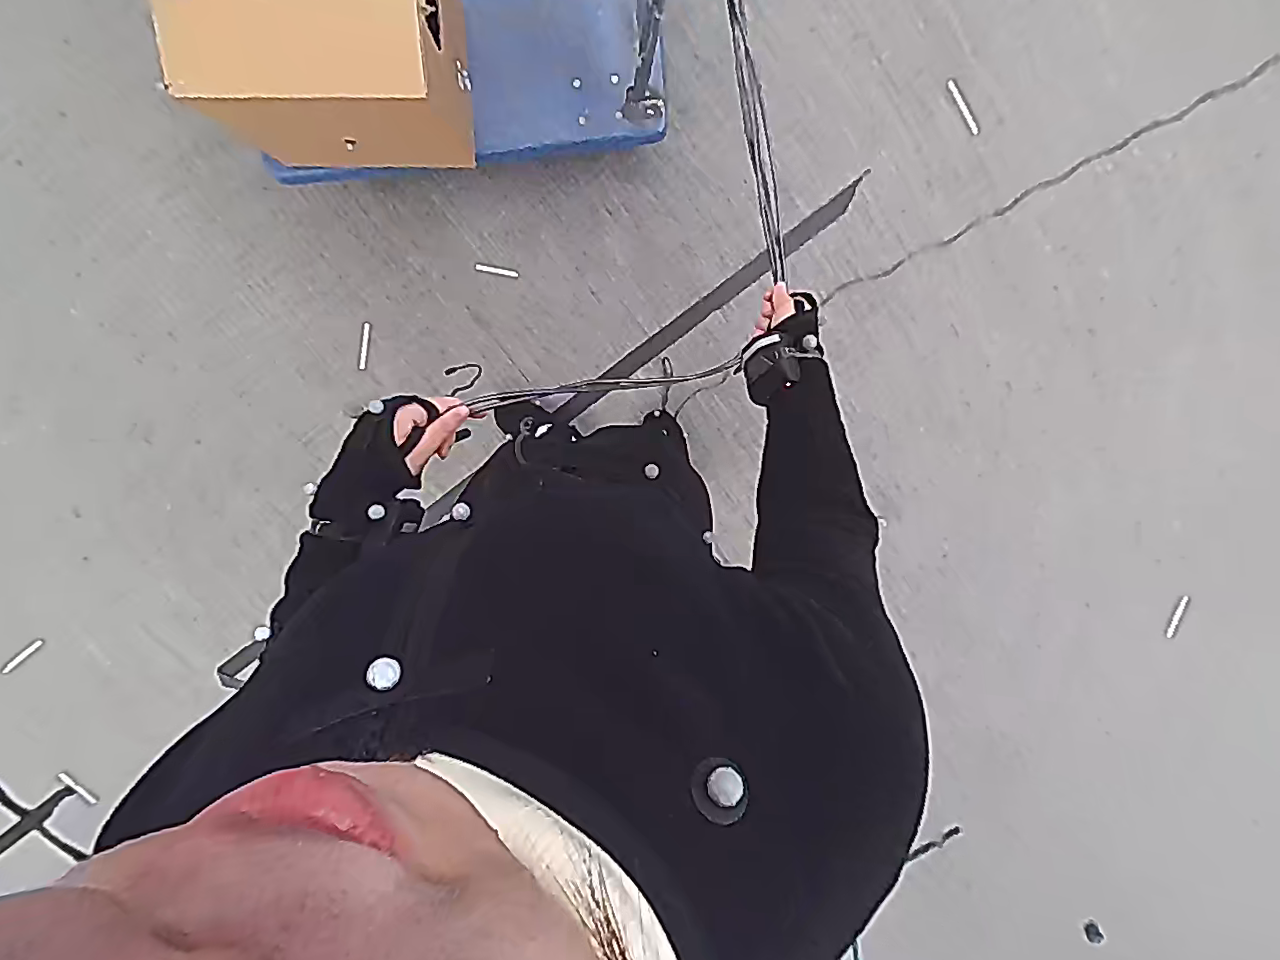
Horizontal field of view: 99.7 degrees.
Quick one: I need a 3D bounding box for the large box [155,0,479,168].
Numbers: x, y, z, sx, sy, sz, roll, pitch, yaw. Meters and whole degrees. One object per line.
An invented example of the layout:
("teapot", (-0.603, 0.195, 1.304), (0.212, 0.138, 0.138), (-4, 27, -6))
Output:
("large box", (-0.538, -0.777, 0.965), (0.408, 0.320, 0.320), (-1, 102, -1))
